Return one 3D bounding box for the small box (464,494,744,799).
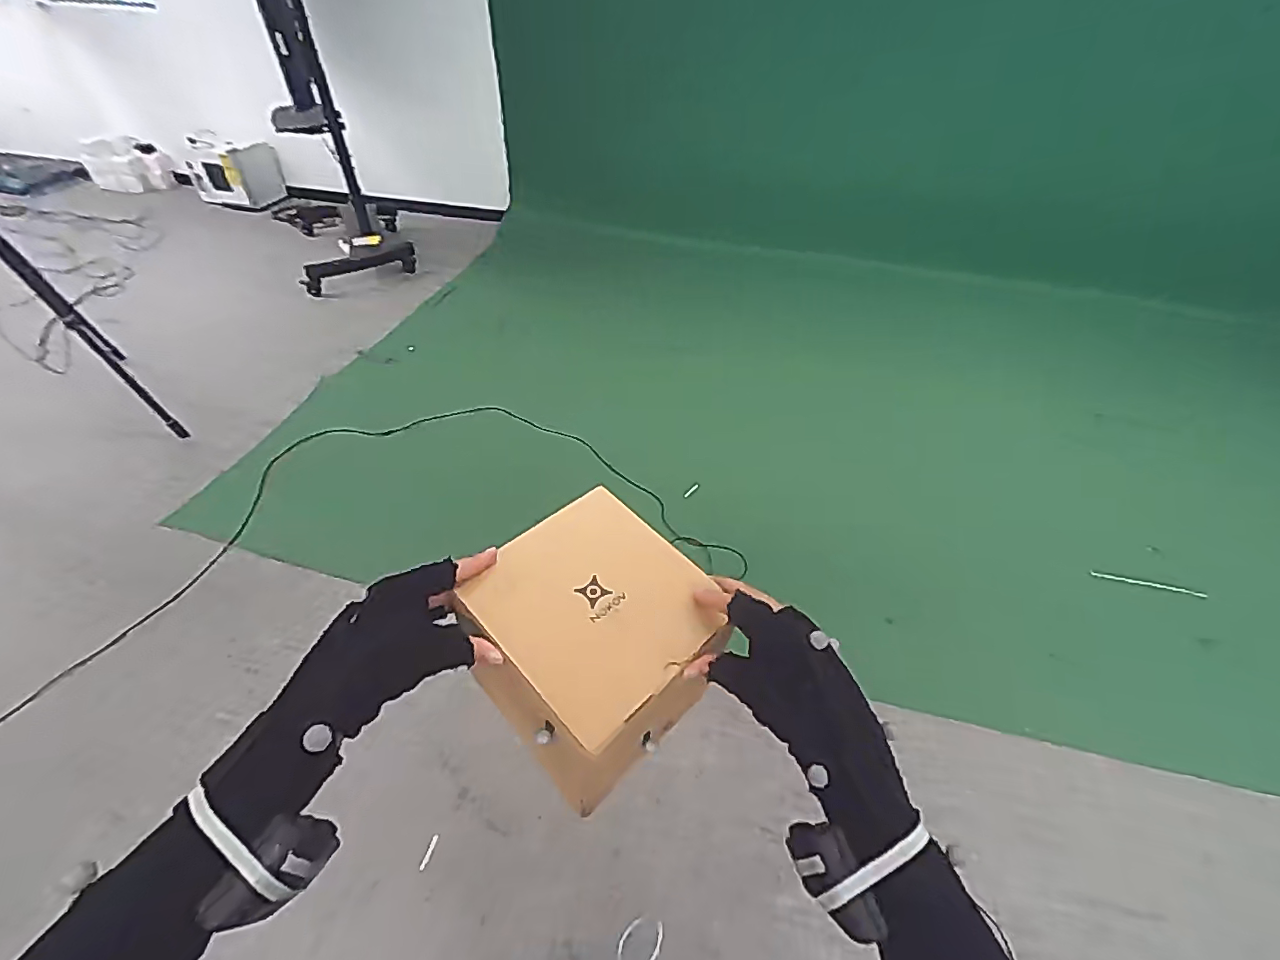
[{"bbox_3d":[-0.039,0.152,0.499,0.168,0.176,0.179,-32,59,-33],"label":"small box"}]
